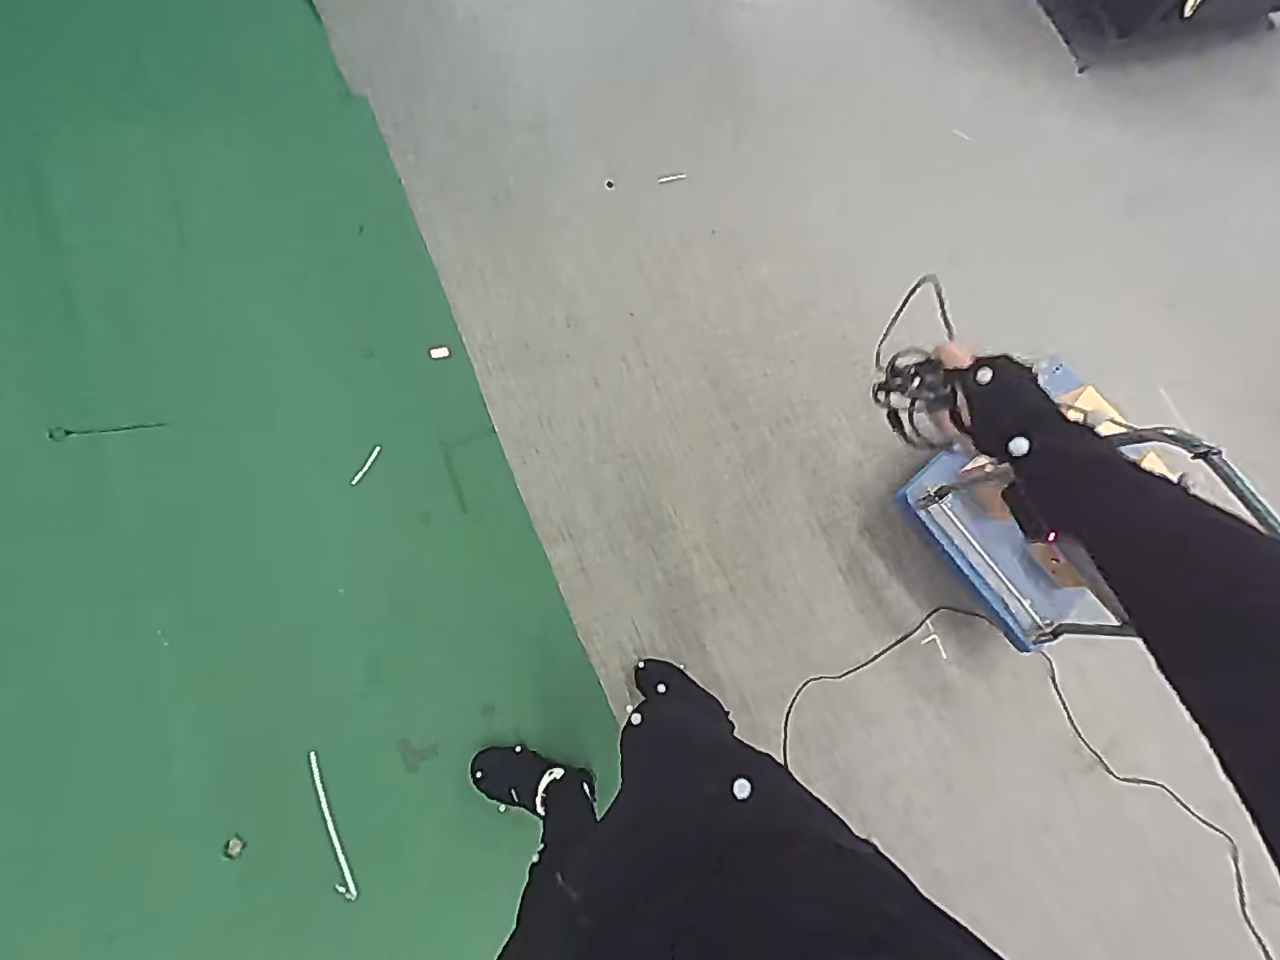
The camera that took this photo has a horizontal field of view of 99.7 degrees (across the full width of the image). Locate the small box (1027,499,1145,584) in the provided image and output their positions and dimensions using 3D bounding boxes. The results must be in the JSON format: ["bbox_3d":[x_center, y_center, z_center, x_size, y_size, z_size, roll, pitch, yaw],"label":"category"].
[{"bbox_3d":[1.263,0.180,1.543,0.179,0.176,0.168,-35,85,-19],"label":"small box"}]

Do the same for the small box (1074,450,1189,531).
[{"bbox_3d":[1.469,0.040,1.627,0.179,0.176,0.168,-38,85,-18],"label":"small box"}]

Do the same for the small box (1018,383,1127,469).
[{"bbox_3d":[1.304,-0.157,1.645,0.179,0.176,0.168,-40,87,-20],"label":"small box"}]
